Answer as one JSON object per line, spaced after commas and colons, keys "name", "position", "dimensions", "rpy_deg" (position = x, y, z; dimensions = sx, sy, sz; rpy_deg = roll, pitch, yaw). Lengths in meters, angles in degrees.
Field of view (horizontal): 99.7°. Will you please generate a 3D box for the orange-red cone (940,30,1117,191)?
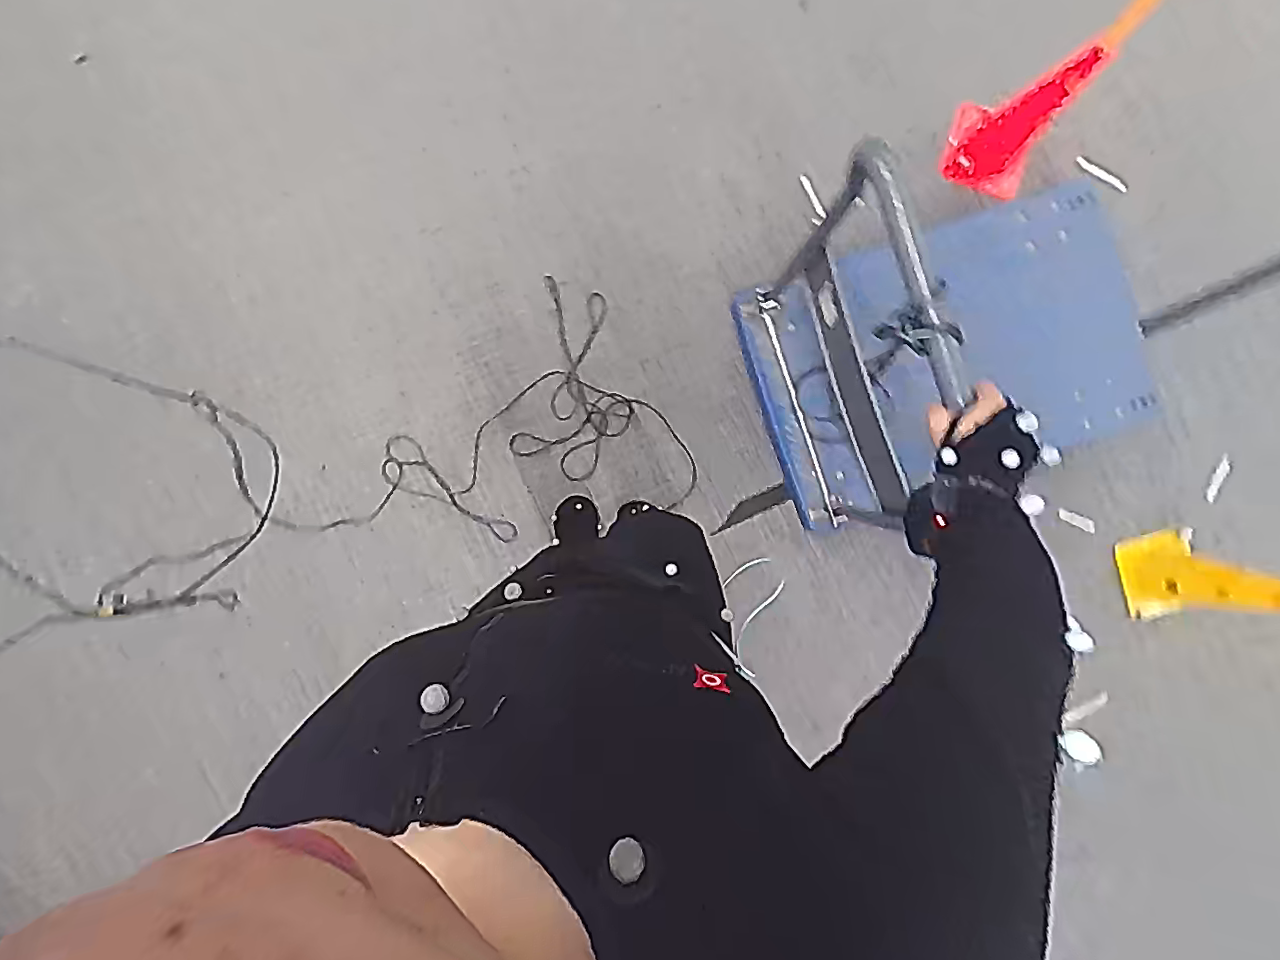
{"name": "orange-red cone", "position": [0.892, -0.855, 1.212], "dimensions": [0.199, 0.360, 0.198], "rpy_deg": [20, 91, -3]}
